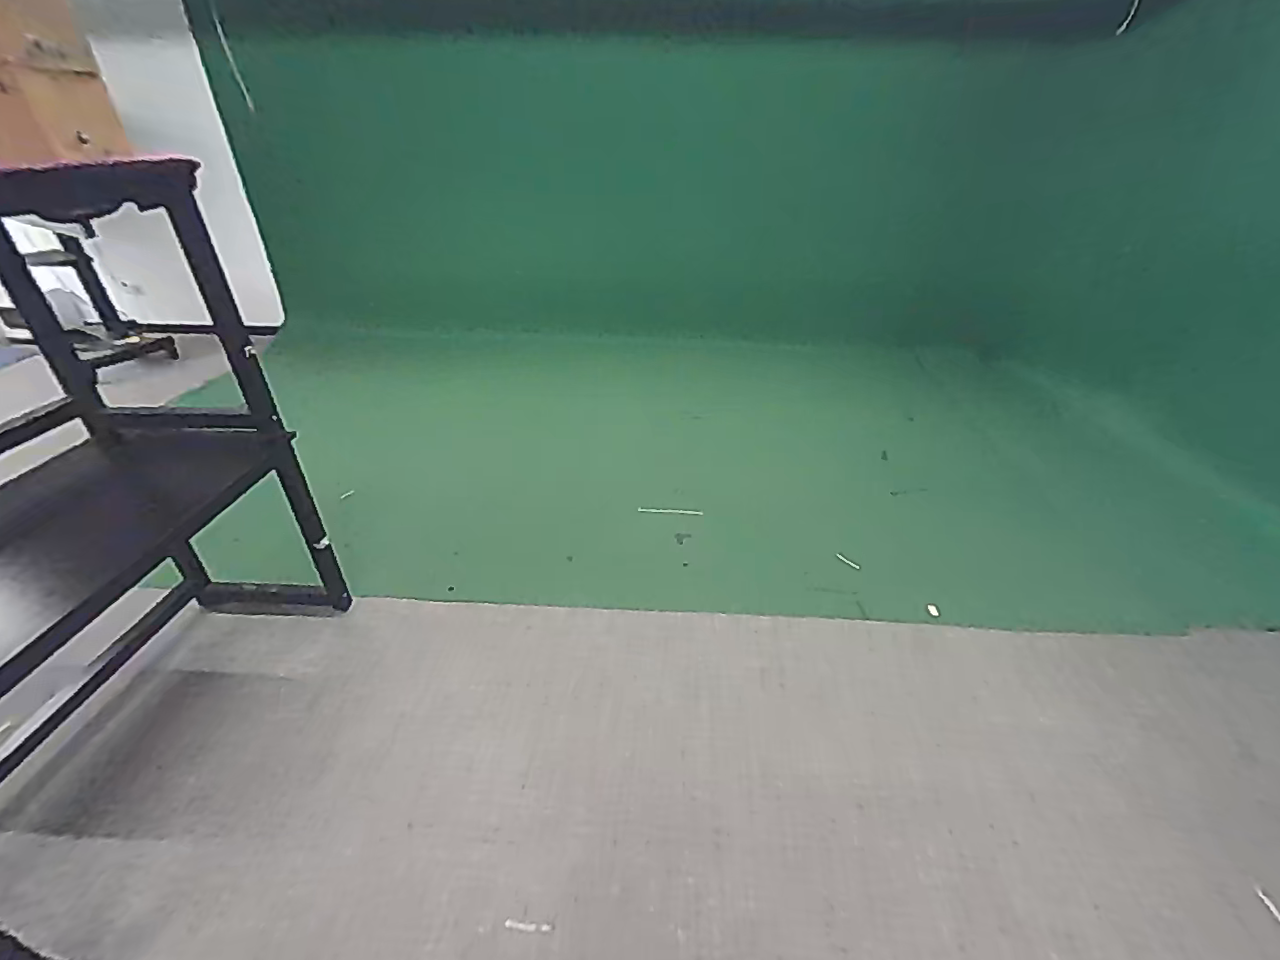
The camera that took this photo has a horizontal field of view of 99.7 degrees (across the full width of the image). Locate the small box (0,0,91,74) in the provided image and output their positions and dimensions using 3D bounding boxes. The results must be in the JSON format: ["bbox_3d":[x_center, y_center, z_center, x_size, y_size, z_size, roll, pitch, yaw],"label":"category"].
[{"bbox_3d":[-1.217,-0.875,1.015,0.179,0.176,0.168,12,36,12],"label":"small box"}]

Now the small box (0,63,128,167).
[{"bbox_3d":[-1.228,-0.740,1.105,0.179,0.176,0.168,8,34,10],"label":"small box"}]
